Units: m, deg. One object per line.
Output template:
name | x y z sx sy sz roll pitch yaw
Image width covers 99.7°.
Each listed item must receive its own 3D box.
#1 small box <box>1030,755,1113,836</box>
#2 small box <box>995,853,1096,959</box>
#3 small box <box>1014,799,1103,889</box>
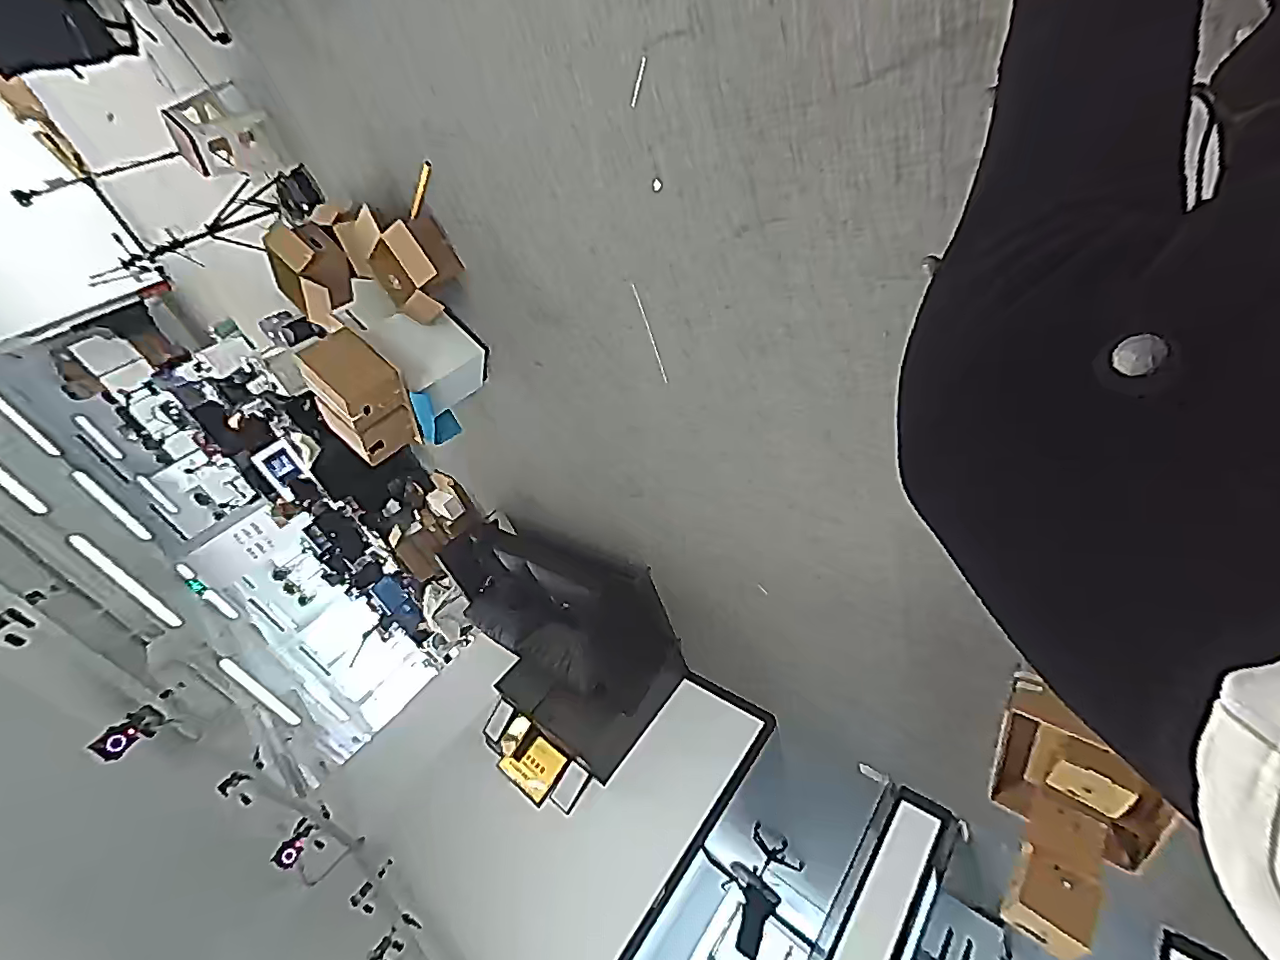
small box | 1.319 0.991 1.656 0.168 0.176 0.179 16 136 41
small box | 1.114 1.178 1.485 0.168 0.176 0.179 24 140 35
small box | 1.214 1.080 1.571 0.168 0.176 0.179 16 136 42
